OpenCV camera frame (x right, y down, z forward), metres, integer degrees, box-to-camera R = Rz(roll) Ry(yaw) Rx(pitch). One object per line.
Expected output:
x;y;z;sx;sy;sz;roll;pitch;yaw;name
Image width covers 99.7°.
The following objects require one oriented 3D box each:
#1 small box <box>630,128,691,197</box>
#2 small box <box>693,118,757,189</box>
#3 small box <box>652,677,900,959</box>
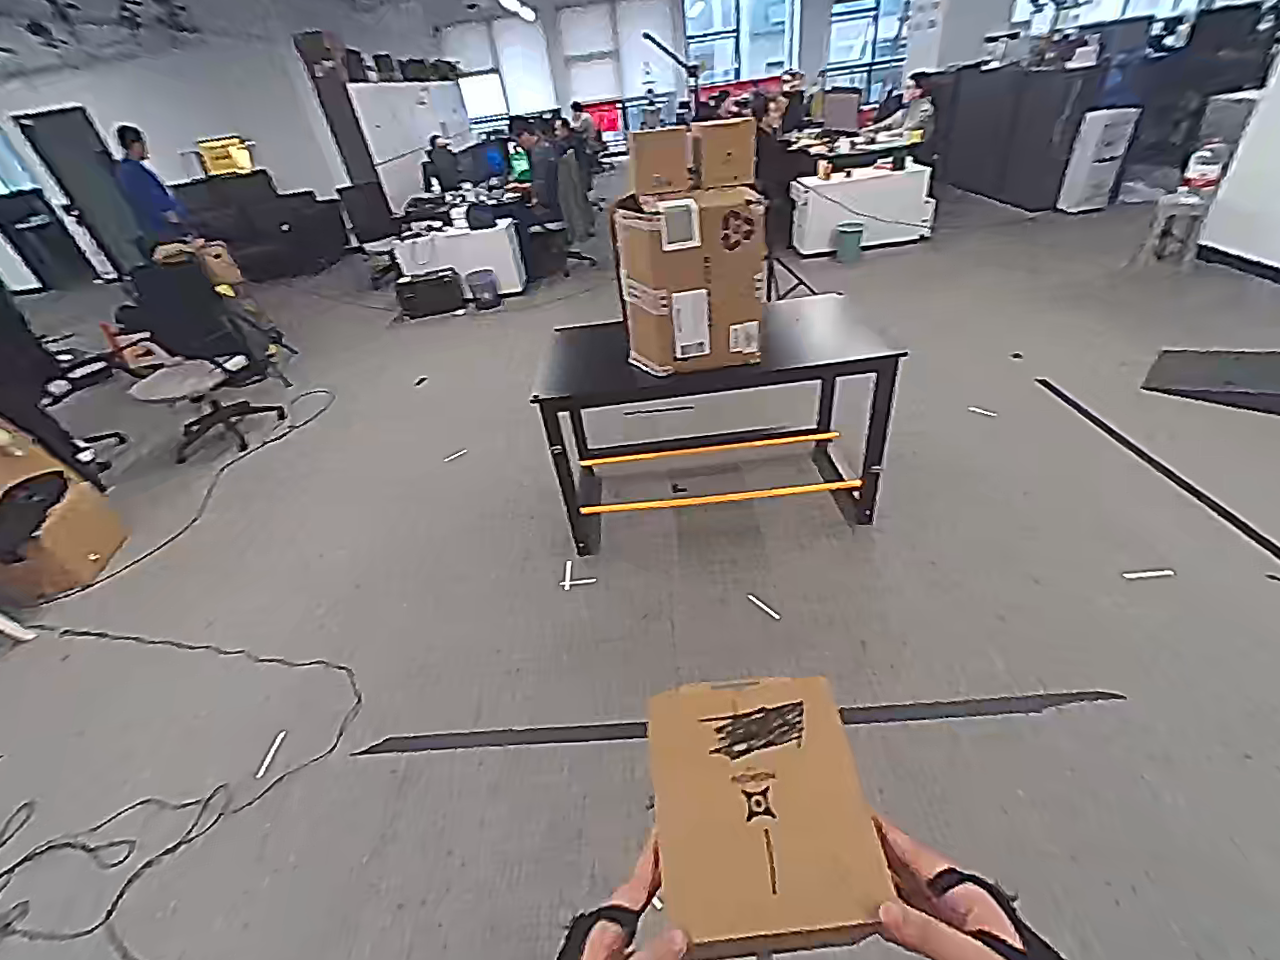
0.063;-0.991;1.689;0.168;0.176;0.179;-9;34;-2;small box
0.261;-1.014;1.684;0.168;0.176;0.179;-7;36;-2;small box
0.100;0.305;0.489;0.168;0.176;0.179;-6;45;0;small box
